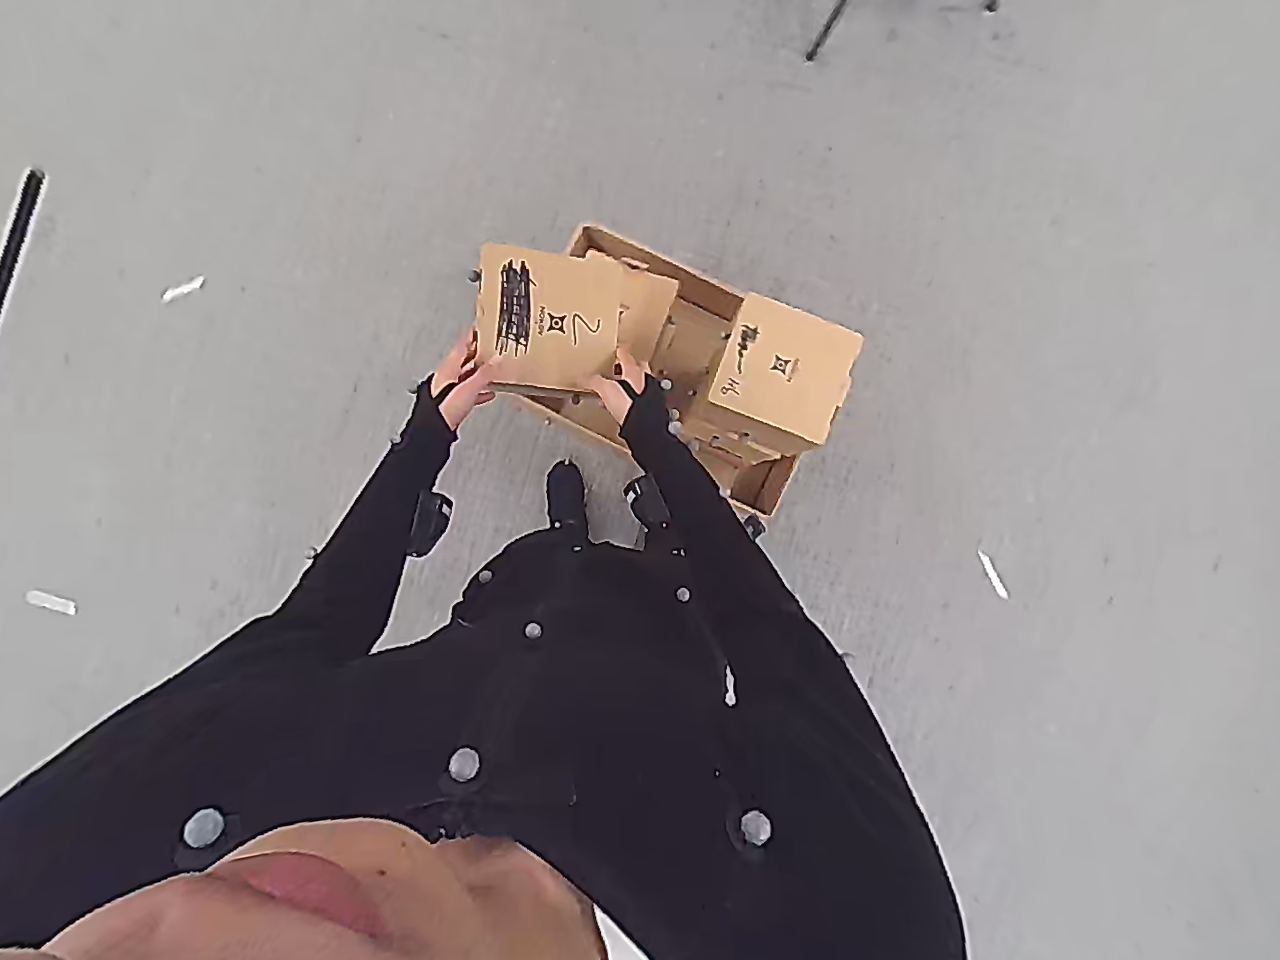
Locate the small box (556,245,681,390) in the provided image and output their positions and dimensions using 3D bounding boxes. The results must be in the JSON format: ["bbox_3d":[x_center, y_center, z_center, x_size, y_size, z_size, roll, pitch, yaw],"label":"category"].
[{"bbox_3d":[-0.037,-0.282,0.980,0.168,0.176,0.179,21,89,1],"label":"small box"}]

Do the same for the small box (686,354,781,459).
[{"bbox_3d":[0.193,-0.148,0.985,0.168,0.176,0.179,24,88,-1],"label":"small box"}]

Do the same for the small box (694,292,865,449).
[{"bbox_3d":[0.199,-0.152,0.821,0.179,0.176,0.168,22,88,-1],"label":"small box"}]
